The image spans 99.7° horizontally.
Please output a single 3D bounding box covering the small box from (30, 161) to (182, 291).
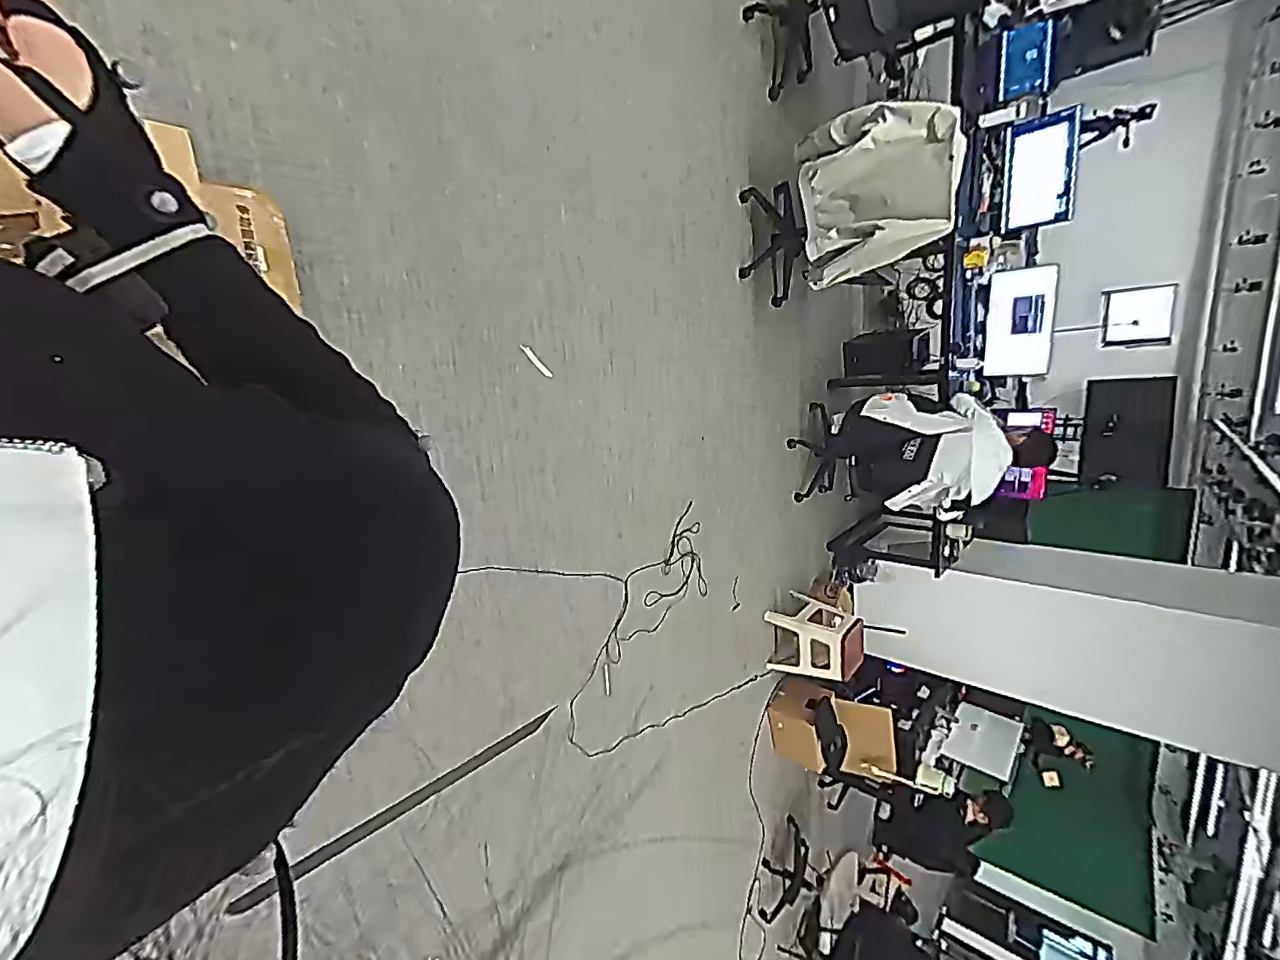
[{"bbox_3d":[-0.931,-0.442,0.944,0.168,0.176,0.179,-11,103,-47],"label":"small box"}]

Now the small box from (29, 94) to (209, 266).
[{"bbox_3d":[-0.804,-0.445,0.836,0.168,0.176,0.179,-17,107,-46],"label":"small box"}]
